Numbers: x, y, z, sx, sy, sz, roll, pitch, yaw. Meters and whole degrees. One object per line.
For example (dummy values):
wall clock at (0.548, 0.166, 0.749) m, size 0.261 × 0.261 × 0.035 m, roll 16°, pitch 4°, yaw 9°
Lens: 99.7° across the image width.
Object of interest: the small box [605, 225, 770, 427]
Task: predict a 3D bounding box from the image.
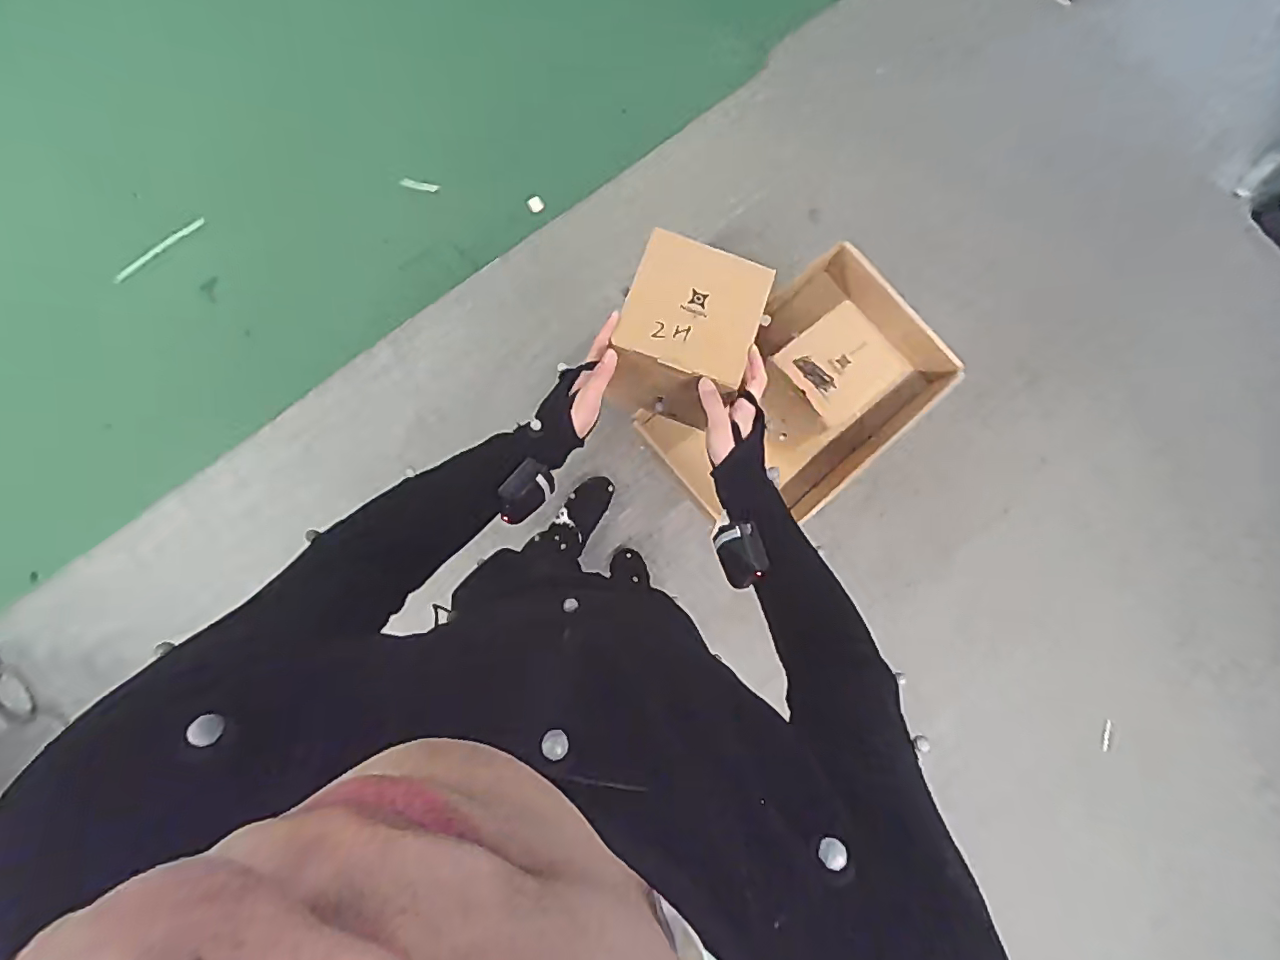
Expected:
small box at (0.053, -0.196, 0.731) m, size 0.168 × 0.176 × 0.179 m, roll 19°, pitch 76°, yaw -1°

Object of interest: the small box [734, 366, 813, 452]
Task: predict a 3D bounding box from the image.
small box at (0.330, -0.180, 1.175) m, size 0.168 × 0.176 × 0.179 m, roll -40°, pitch 88°, yaw -5°

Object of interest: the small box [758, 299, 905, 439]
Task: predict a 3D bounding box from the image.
small box at (0.342, -0.196, 1.012) m, size 0.179 × 0.176 × 0.168 m, roll -38°, pitch 88°, yaw -6°
